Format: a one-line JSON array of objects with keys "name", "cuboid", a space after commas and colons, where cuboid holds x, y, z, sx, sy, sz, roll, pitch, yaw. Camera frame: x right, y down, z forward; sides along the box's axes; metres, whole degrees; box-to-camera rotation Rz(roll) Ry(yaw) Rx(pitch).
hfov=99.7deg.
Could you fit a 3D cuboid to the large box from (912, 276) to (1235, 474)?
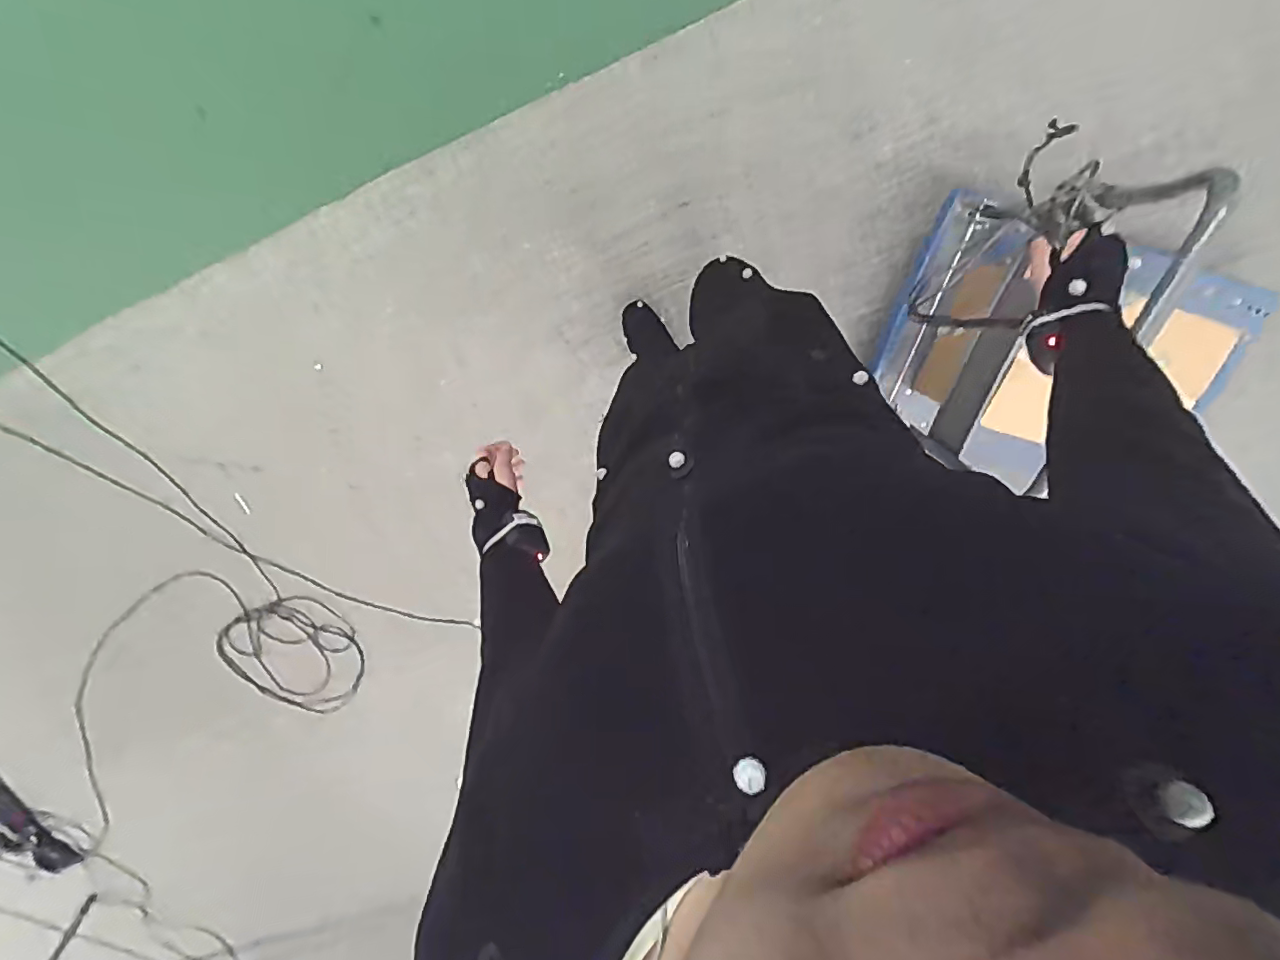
[{"name": "large box", "cuboid": [0.919, -0.249, 1.215, 0.408, 0.320, 0.320, 14, 113, -6]}]
